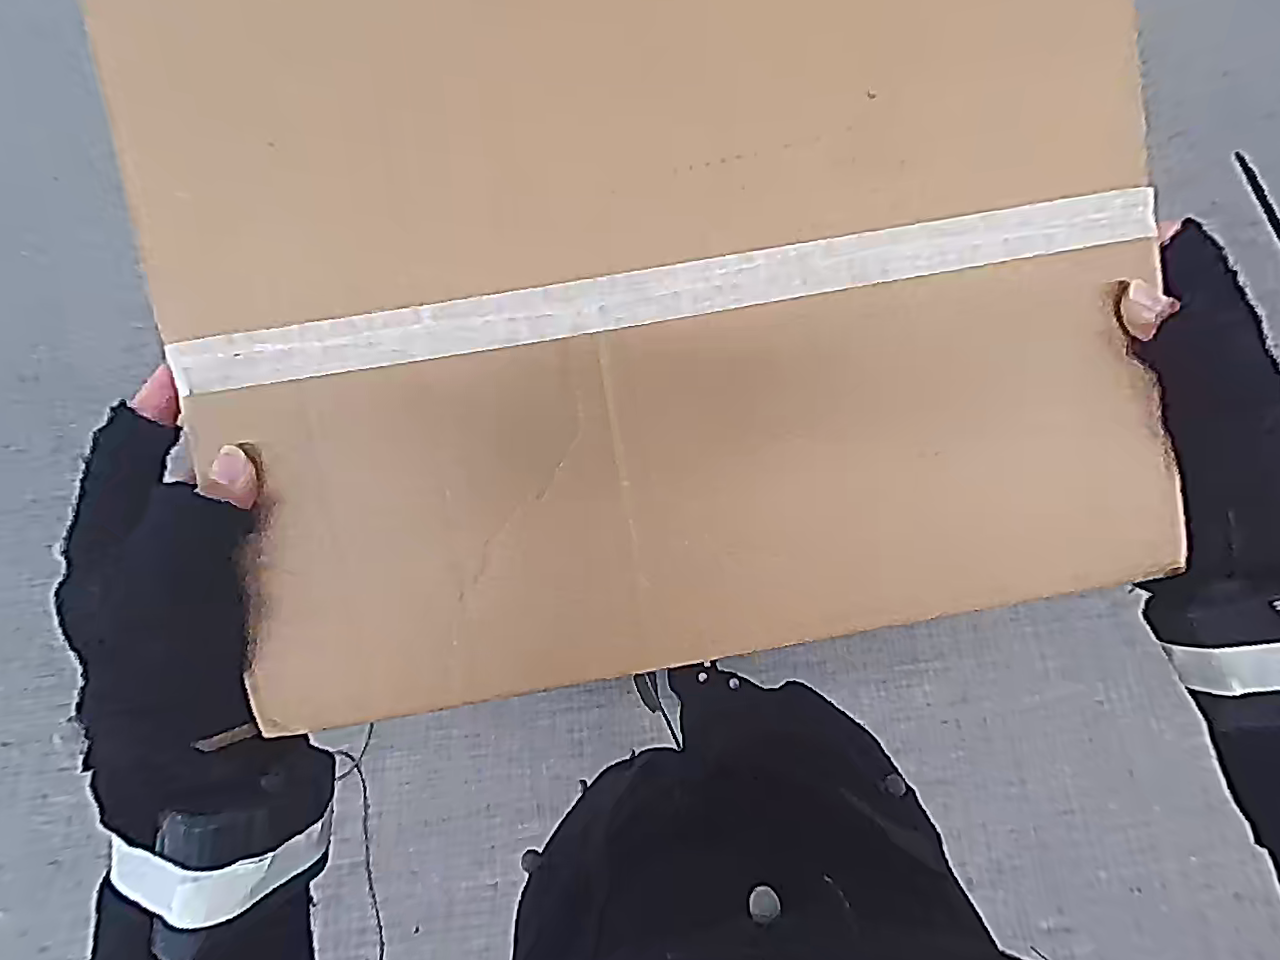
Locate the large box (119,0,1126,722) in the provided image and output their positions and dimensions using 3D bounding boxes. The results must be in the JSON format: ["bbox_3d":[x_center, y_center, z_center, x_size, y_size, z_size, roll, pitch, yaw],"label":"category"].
[{"bbox_3d":[0.006,-0.088,0.383,0.408,0.320,0.320,-10,94,-2],"label":"large box"}]
